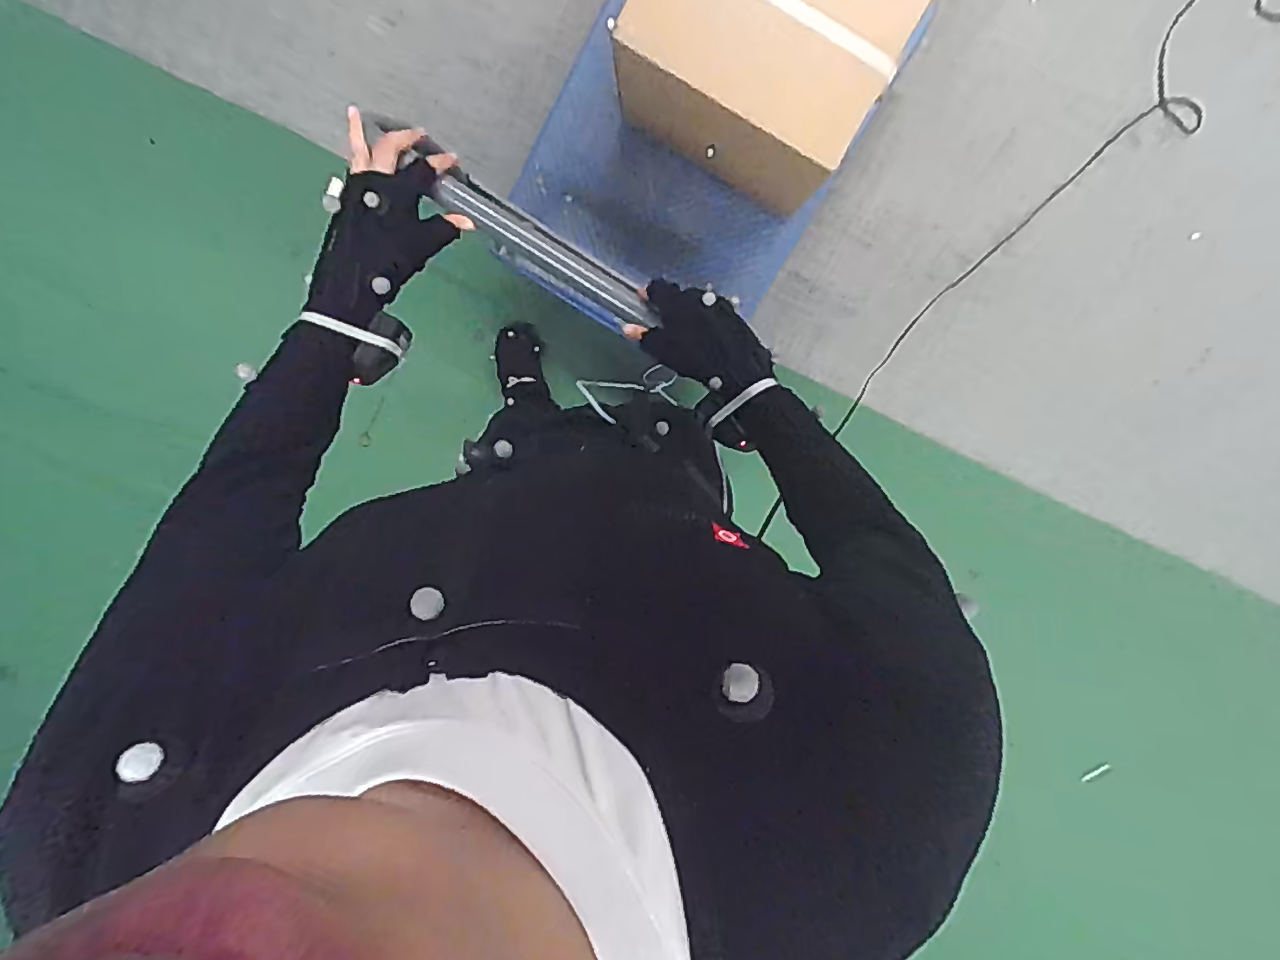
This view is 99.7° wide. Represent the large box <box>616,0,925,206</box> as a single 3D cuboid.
[{"bbox_3d":[0.214,-0.756,0.953,0.408,0.320,0.320,27,102,-4],"label":"large box"}]
